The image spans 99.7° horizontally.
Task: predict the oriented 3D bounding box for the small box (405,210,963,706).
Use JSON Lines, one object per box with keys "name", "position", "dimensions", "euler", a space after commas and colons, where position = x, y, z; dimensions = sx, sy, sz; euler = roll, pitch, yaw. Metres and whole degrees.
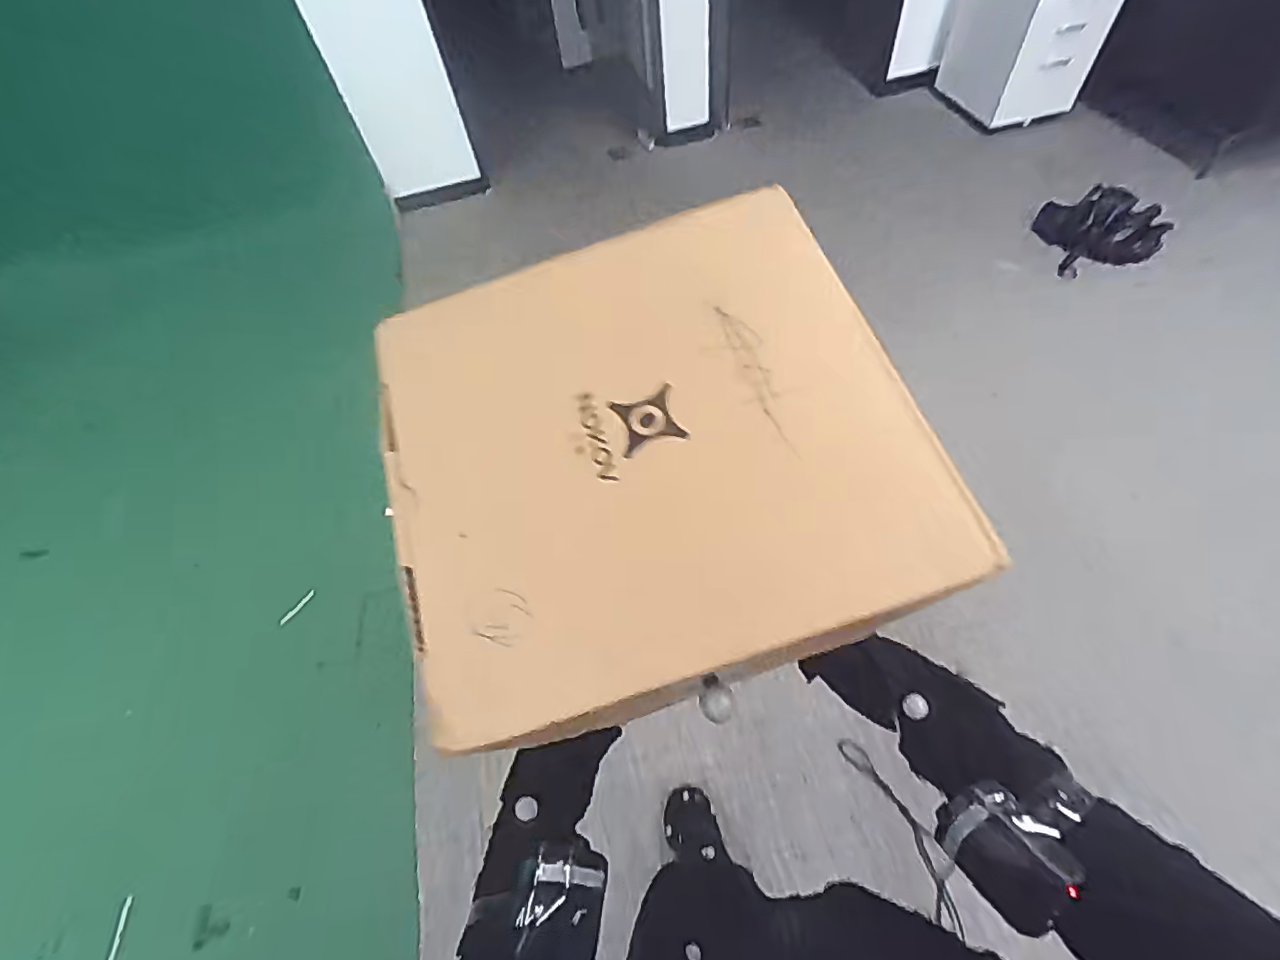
{"name": "small box", "position": [0.011, 0.009, 0.278], "dimensions": [0.179, 0.176, 0.168], "euler": [-18, 67, -1]}
